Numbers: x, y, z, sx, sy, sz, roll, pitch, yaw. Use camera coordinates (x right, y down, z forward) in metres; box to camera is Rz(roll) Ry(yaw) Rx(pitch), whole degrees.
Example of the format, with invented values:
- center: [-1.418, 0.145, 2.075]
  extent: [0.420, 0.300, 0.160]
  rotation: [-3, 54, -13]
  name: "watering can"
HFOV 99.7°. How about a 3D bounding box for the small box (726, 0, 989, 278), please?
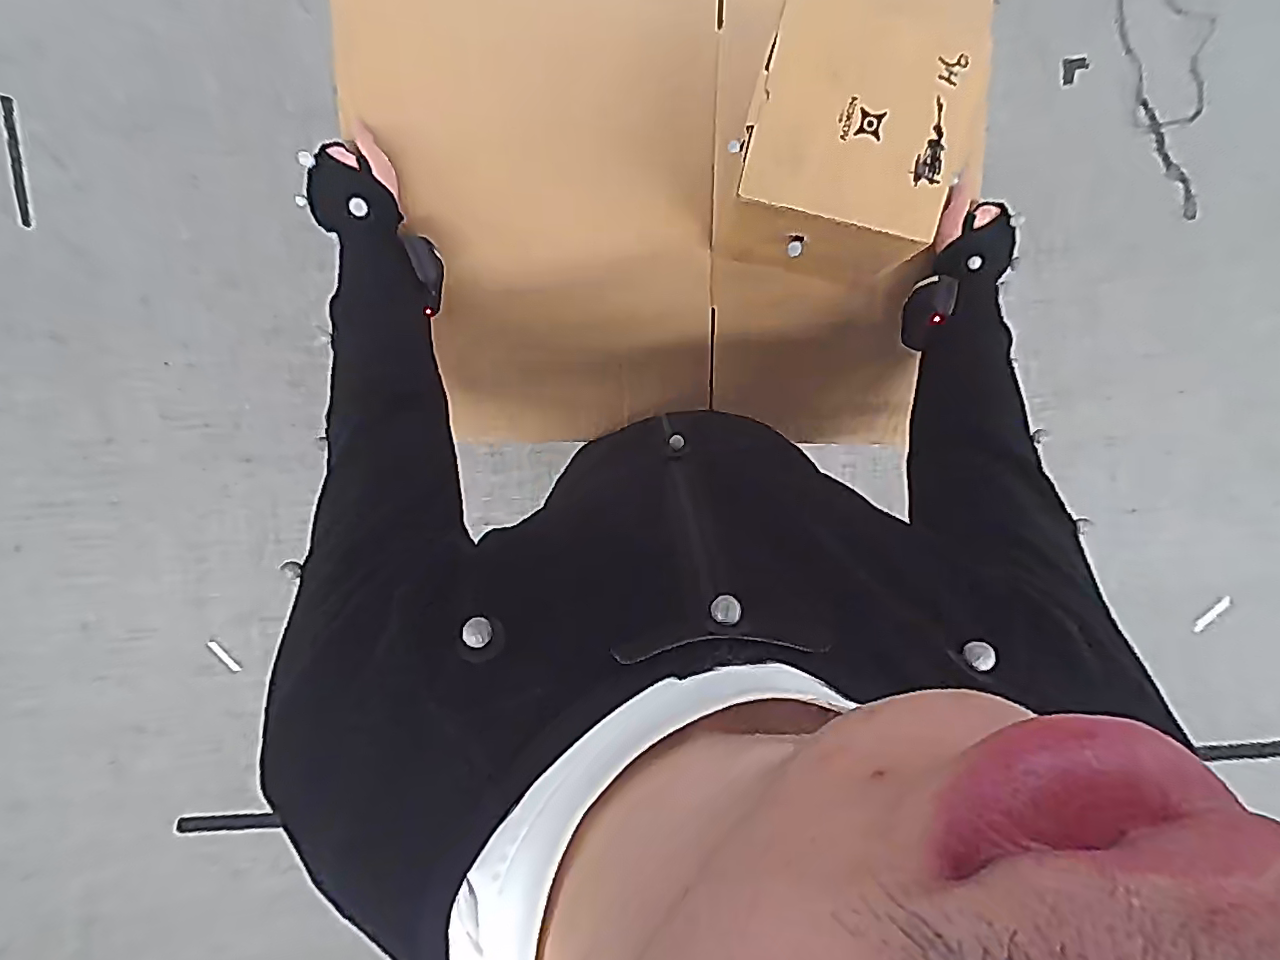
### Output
- center: [0.192, -0.318, 0.539]
  extent: [0.179, 0.176, 0.168]
  rotation: [14, 97, 2]
  name: "small box"
